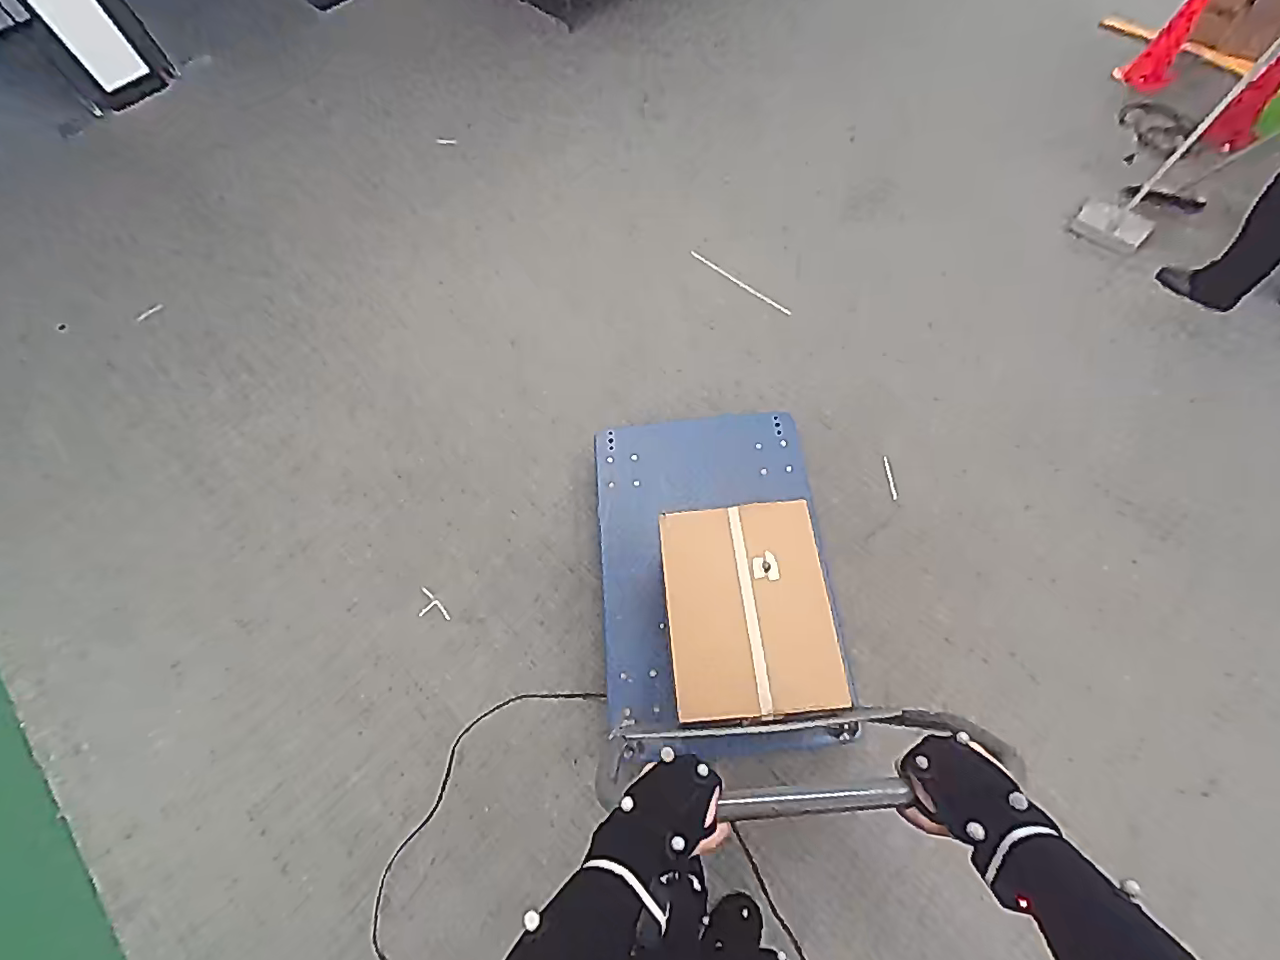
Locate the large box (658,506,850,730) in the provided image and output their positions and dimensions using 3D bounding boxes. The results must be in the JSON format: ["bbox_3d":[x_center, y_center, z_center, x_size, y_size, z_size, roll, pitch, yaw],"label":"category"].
[{"bbox_3d":[0.216,0.312,1.184,0.320,0.320,0.408,-5,64,0],"label":"large box"}]
